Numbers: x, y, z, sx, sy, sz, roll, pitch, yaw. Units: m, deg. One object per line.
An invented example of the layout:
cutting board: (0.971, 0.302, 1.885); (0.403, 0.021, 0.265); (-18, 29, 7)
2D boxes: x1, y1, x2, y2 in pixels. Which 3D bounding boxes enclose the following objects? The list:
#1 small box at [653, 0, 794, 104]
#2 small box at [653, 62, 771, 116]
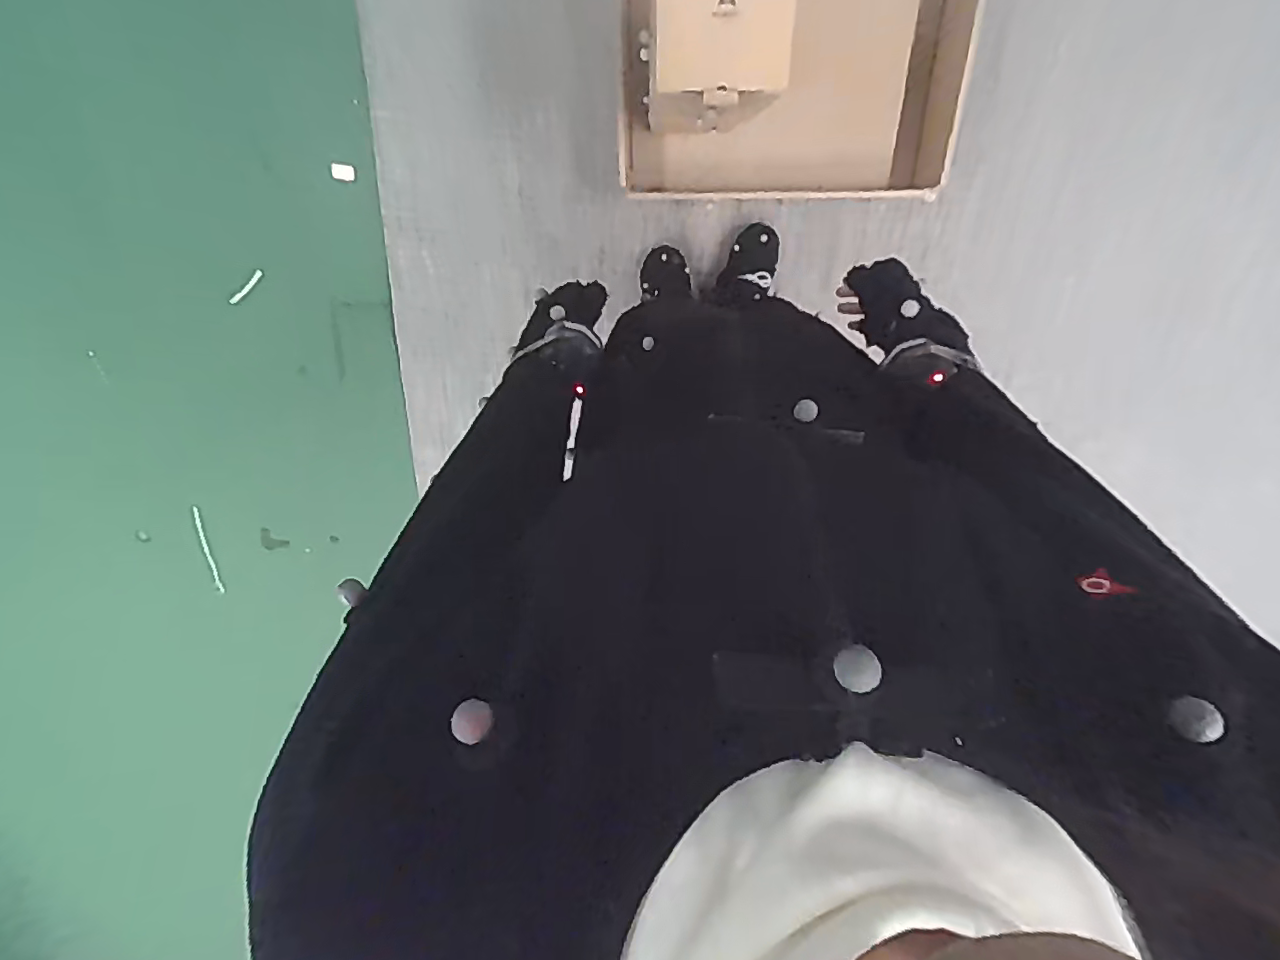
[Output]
small box: (0.102, -0.606, 0.707); (0.168, 0.176, 0.179); (0, 117, 0)
small box: (0.111, -0.684, 0.850); (0.179, 0.176, 0.168); (1, 117, 1)
